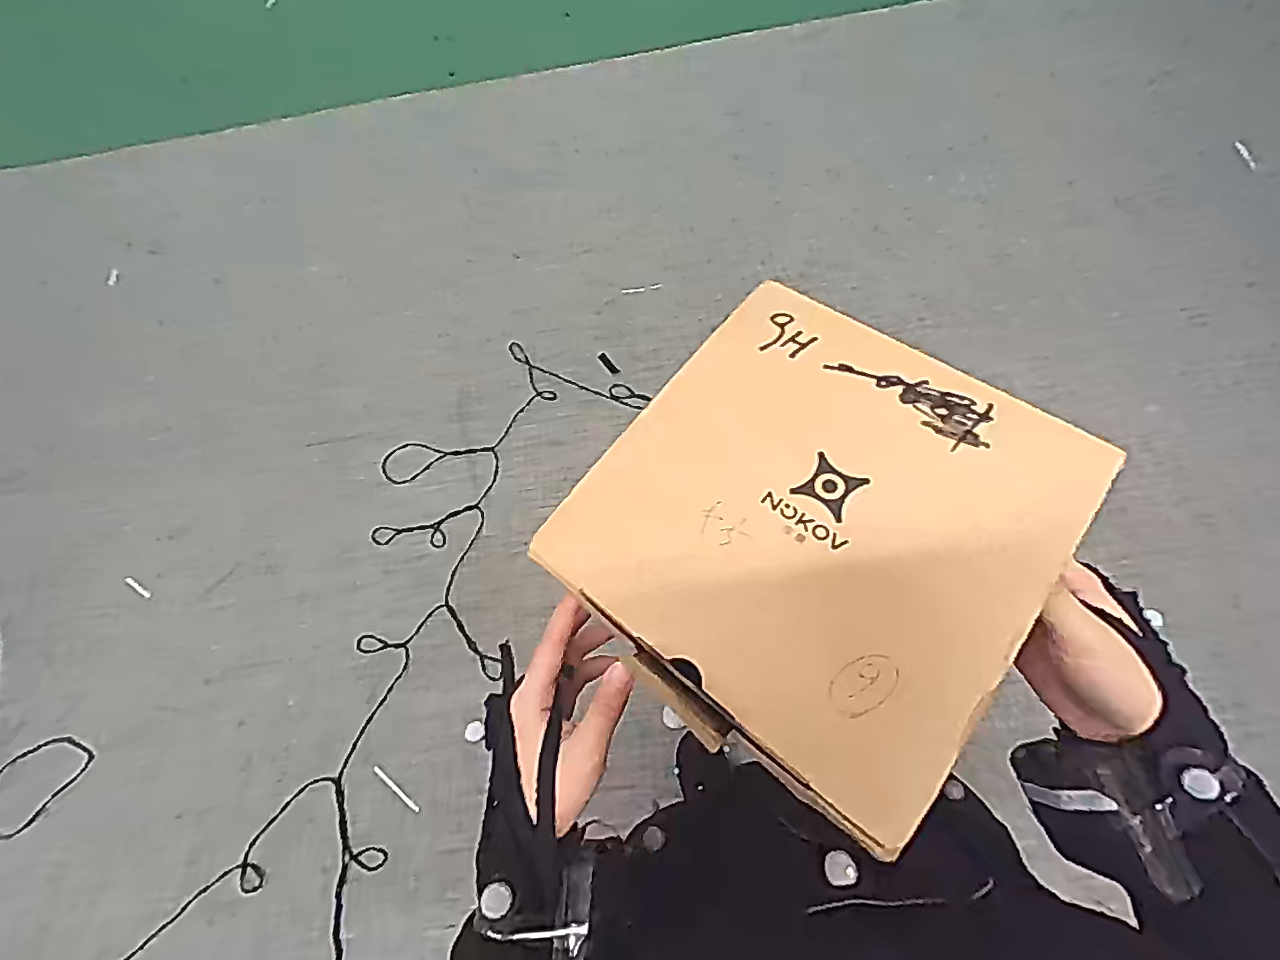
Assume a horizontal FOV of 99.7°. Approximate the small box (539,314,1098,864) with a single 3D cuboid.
[{"bbox_3d":[0.081,0.054,0.297,0.168,0.176,0.179,35,74,21],"label":"small box"}]
